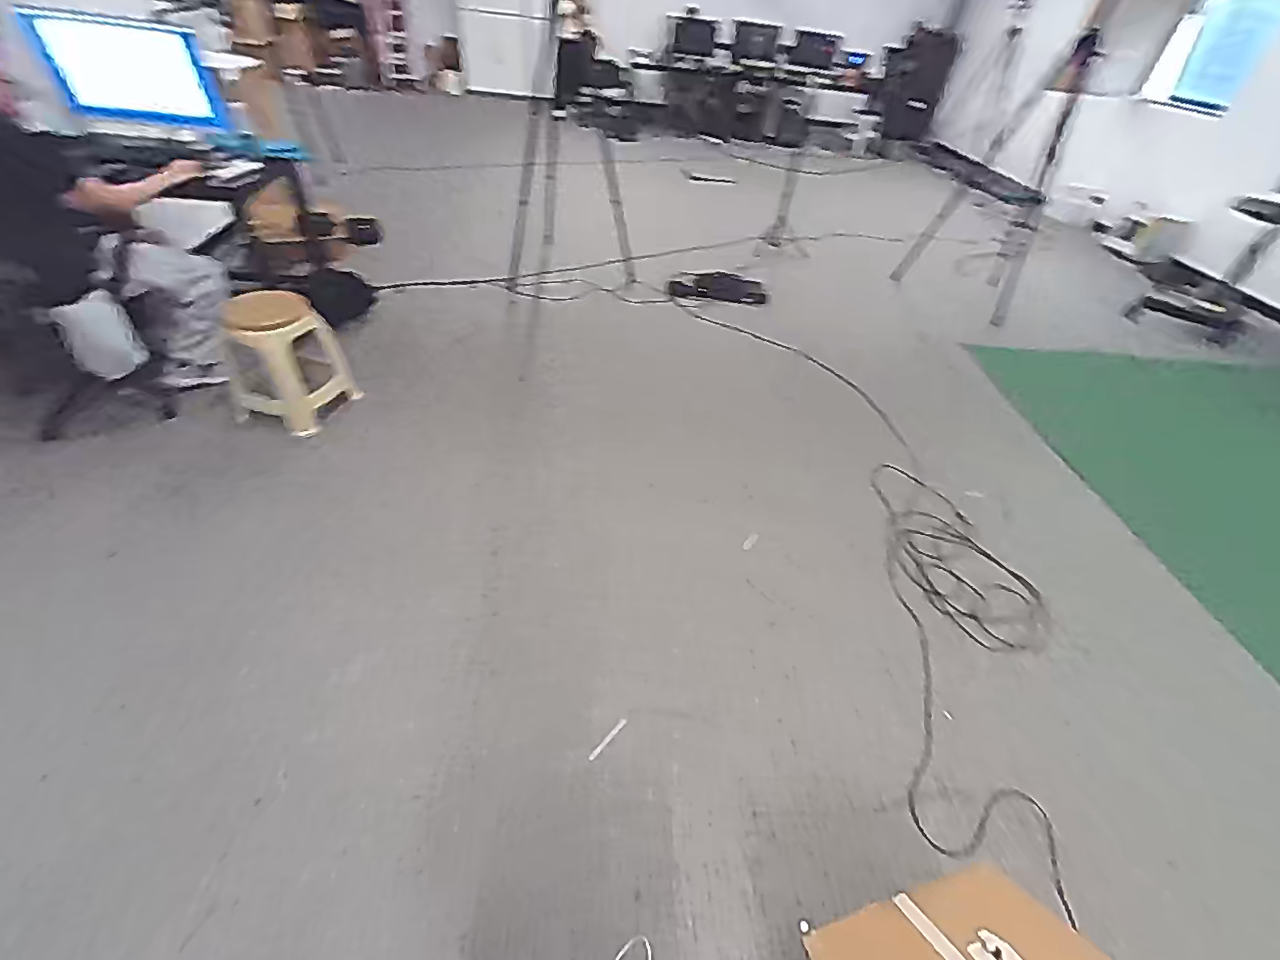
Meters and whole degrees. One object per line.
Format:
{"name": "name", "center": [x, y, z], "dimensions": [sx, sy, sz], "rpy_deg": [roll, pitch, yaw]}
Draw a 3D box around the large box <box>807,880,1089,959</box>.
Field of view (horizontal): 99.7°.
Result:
{"name": "large box", "center": [0.446, 0.761, 0.585], "dimensions": [0.320, 0.408, 0.320], "rpy_deg": [-13, 86, -8]}
